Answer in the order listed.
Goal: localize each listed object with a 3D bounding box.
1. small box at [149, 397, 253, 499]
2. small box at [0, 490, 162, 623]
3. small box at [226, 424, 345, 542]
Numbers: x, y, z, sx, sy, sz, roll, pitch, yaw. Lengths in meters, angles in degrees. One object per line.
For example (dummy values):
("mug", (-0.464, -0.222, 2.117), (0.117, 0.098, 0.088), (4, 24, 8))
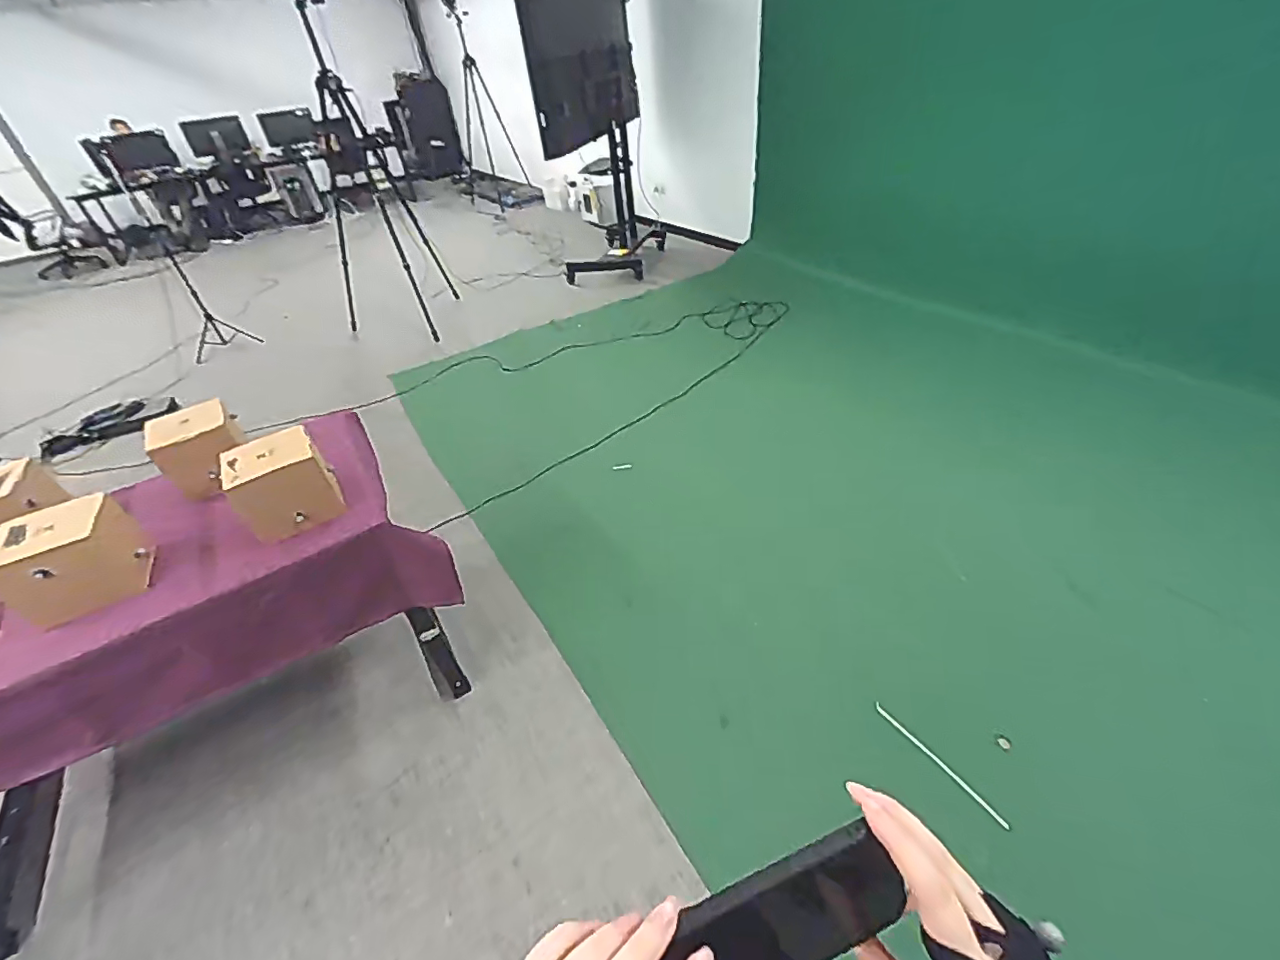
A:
("small box", (-1.093, -0.080, 1.371), (0.168, 0.176, 0.179), (-28, 44, -23))
("small box", (-1.130, 0.155, 1.093), (0.179, 0.176, 0.168), (-23, 42, -20))
("small box", (-0.793, 0.006, 1.222), (0.179, 0.176, 0.168), (-27, 43, -22))
